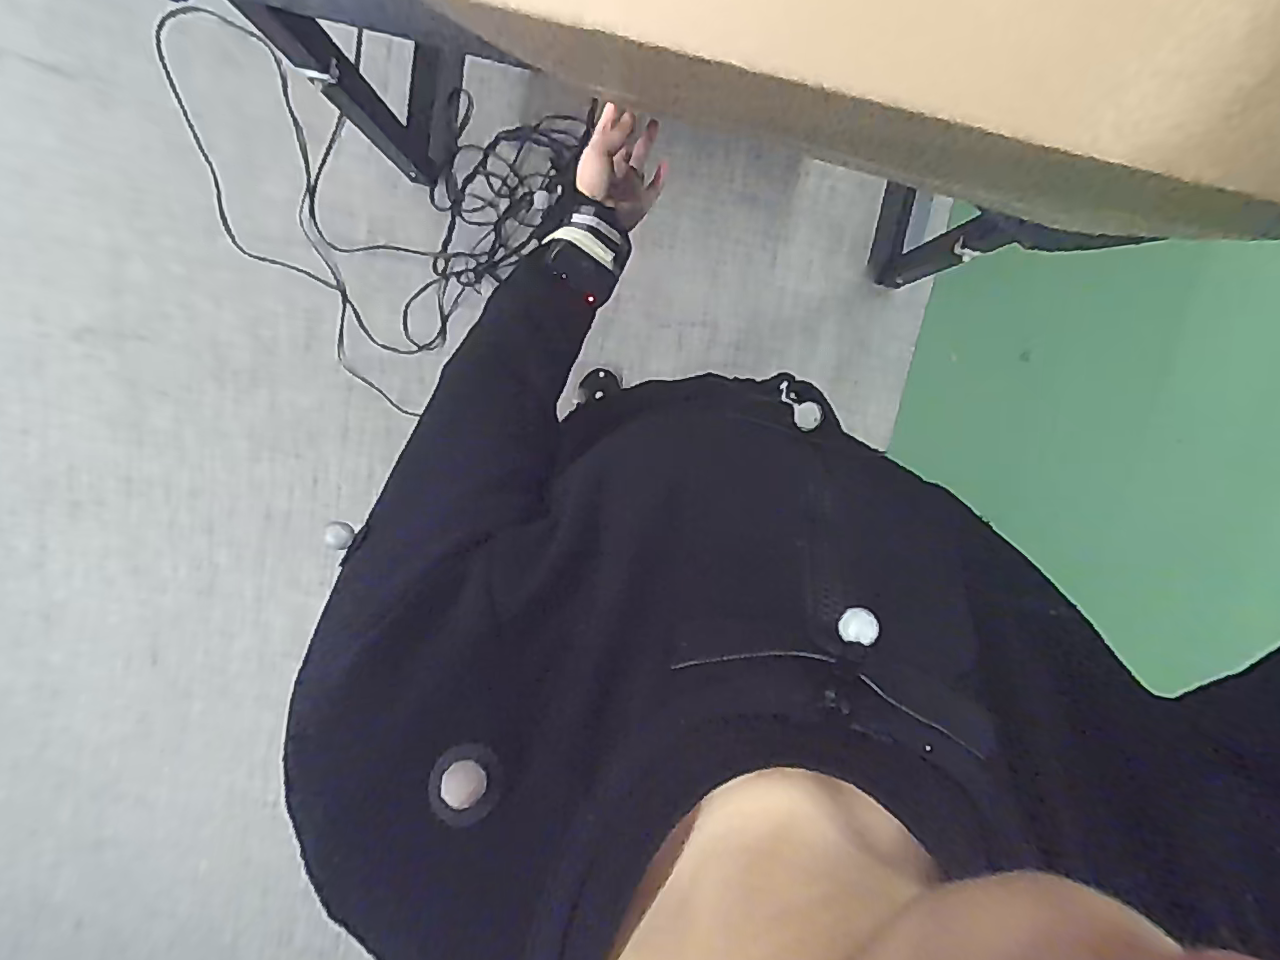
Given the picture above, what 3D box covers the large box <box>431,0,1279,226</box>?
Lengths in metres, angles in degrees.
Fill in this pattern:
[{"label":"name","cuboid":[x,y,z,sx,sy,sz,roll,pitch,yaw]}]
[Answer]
[{"label":"large box","cuboid":[0.154,-0.349,0.282,0.408,0.320,0.320,18,120,8]}]
